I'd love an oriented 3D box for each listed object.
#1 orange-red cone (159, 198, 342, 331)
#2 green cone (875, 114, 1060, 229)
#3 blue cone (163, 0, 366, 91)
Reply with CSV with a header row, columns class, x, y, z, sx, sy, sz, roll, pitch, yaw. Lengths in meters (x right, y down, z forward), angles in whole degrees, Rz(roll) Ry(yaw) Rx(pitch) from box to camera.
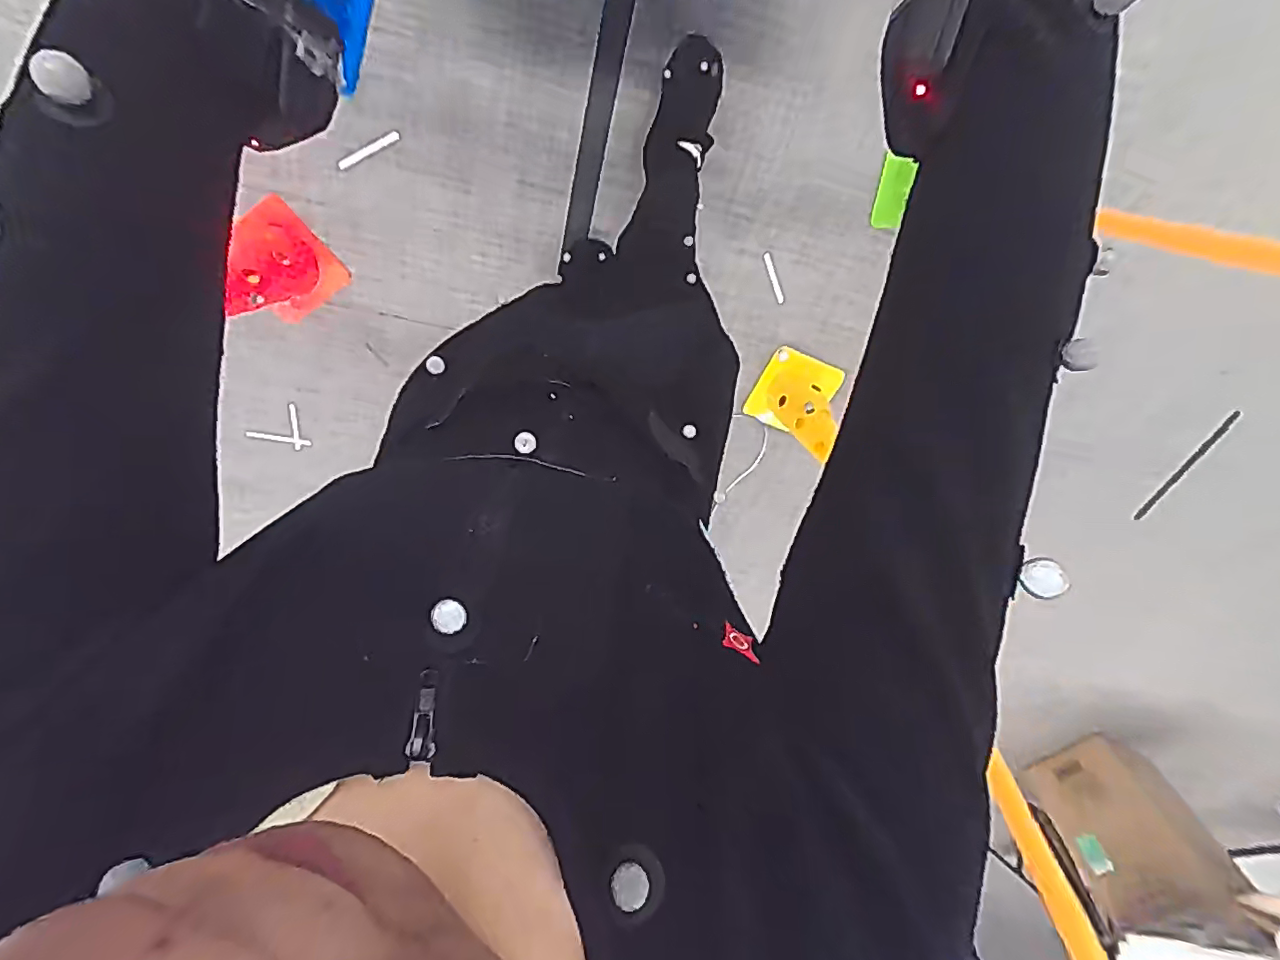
class,x,y,z,sx,sy,sz,roll,pitch,yaw
orange-red cone,-0.742,-0.353,0.985,0.199,0.360,0.198,-27,123,14
green cone,0.596,-0.510,0.947,0.200,0.368,0.202,-1,127,-2
blue cone,-0.557,-0.694,0.770,0.193,0.380,0.192,24,122,-19
